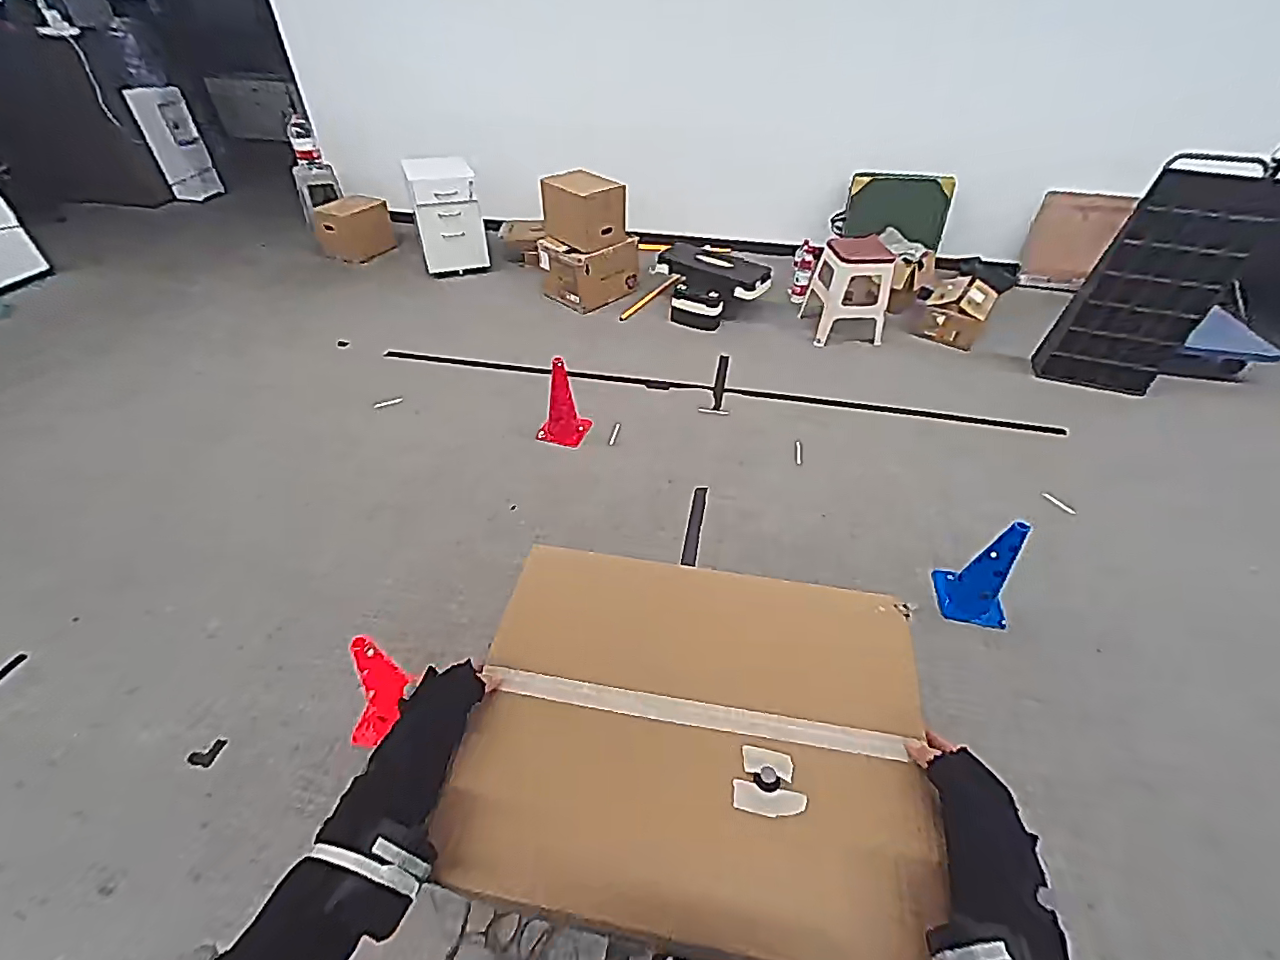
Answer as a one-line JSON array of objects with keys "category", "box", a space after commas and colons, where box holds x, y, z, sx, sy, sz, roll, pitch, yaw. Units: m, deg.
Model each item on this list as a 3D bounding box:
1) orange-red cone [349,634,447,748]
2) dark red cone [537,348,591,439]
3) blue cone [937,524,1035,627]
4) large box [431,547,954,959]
[{"category": "orange-red cone", "box": [-0.646, 0.496, 1.354, 0.198, 0.360, 0.199, 6, 44, 6]}, {"category": "dark red cone", "box": [-0.326, -0.371, 2.269, 0.201, 0.394, 0.202, 13, 44, 11]}, {"category": "blue cone", "box": [1.099, 0.273, 1.680, 0.192, 0.380, 0.193, 12, 44, 9]}, {"category": "large box", "box": [0.052, 0.310, 0.610, 0.408, 0.320, 0.320, 8, 48, 7]}]
